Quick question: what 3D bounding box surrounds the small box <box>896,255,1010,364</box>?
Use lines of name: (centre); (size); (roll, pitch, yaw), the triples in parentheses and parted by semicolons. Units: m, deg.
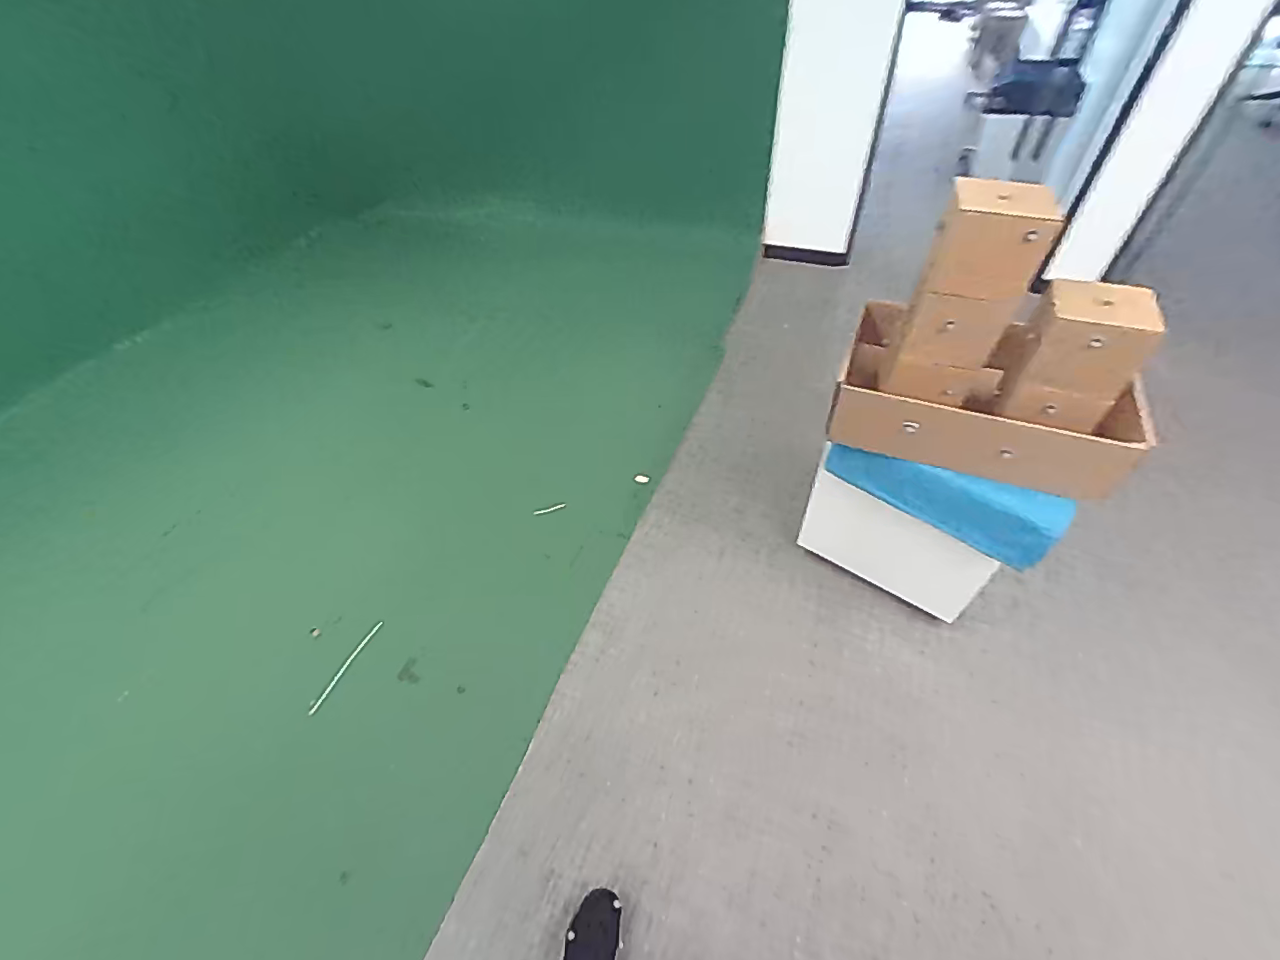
small box: (0.690, -0.381, 1.213); (0.179, 0.176, 0.168); (13, 51, 13)

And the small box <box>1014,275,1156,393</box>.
small box: (0.911, -0.303, 1.129); (0.179, 0.176, 0.168); (16, 52, 18)

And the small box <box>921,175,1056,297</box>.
small box: (0.685, -0.490, 1.092); (0.179, 0.176, 0.168); (13, 50, 11)
